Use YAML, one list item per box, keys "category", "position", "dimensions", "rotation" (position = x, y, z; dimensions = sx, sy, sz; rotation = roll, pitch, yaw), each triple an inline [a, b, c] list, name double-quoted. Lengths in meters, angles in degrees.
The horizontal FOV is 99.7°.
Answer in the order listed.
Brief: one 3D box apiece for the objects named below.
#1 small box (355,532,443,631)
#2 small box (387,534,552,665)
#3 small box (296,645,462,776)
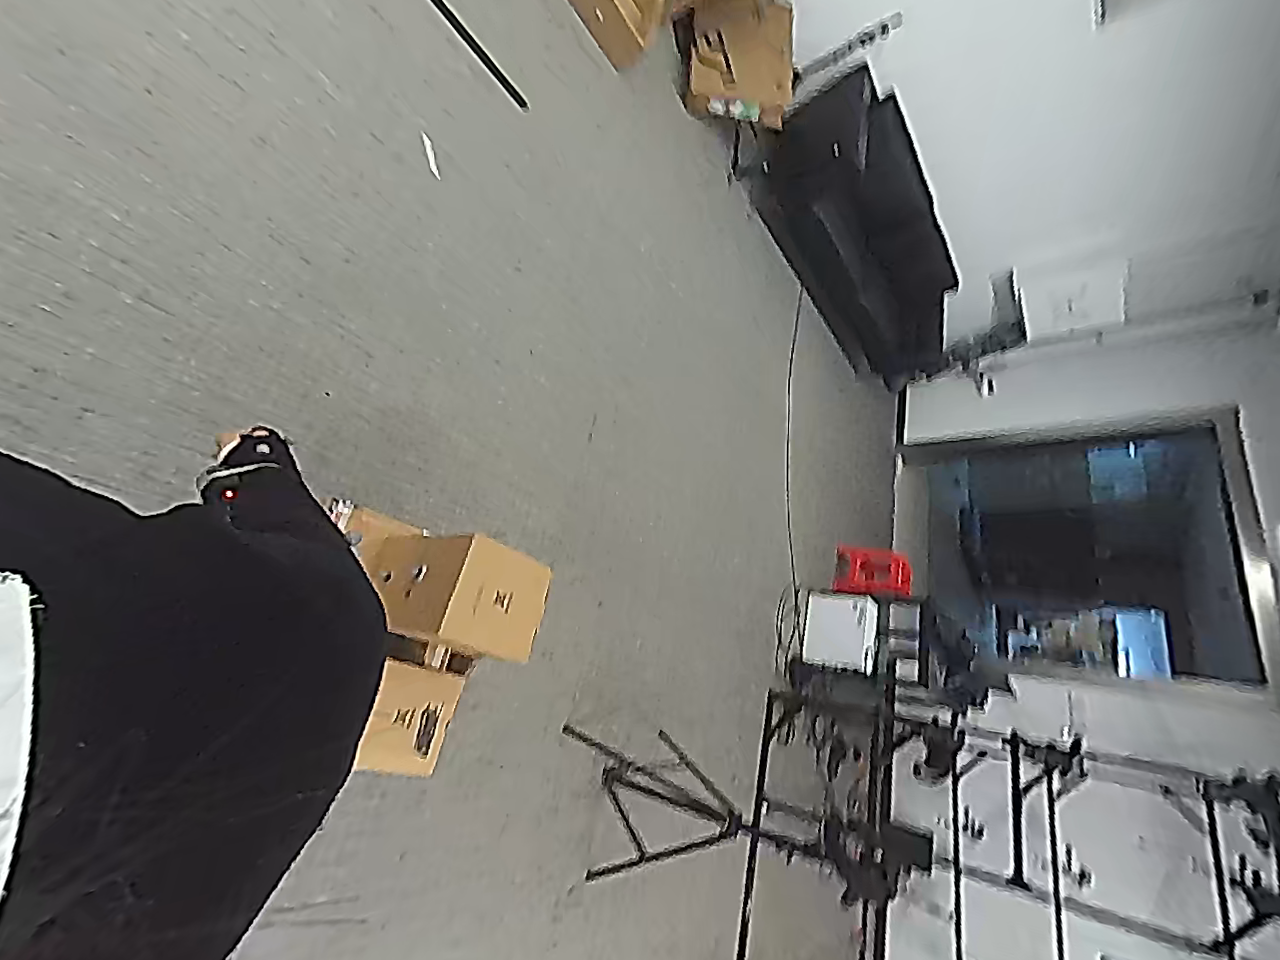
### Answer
- category: "small box"
  position: [-0.402, 0.212, 1.026]
  dimensions: [0.179, 0.176, 0.168]
  rotation: [37, 57, -40]
- category: "small box"
  position: [-0.285, 0.201, 0.912]
  dimensions: [0.179, 0.176, 0.168]
  rotation: [36, 57, -40]
- category: "small box"
  position: [-0.454, 0.398, 0.944]
  dimensions: [0.179, 0.176, 0.168]
  rotation: [36, 61, -41]
